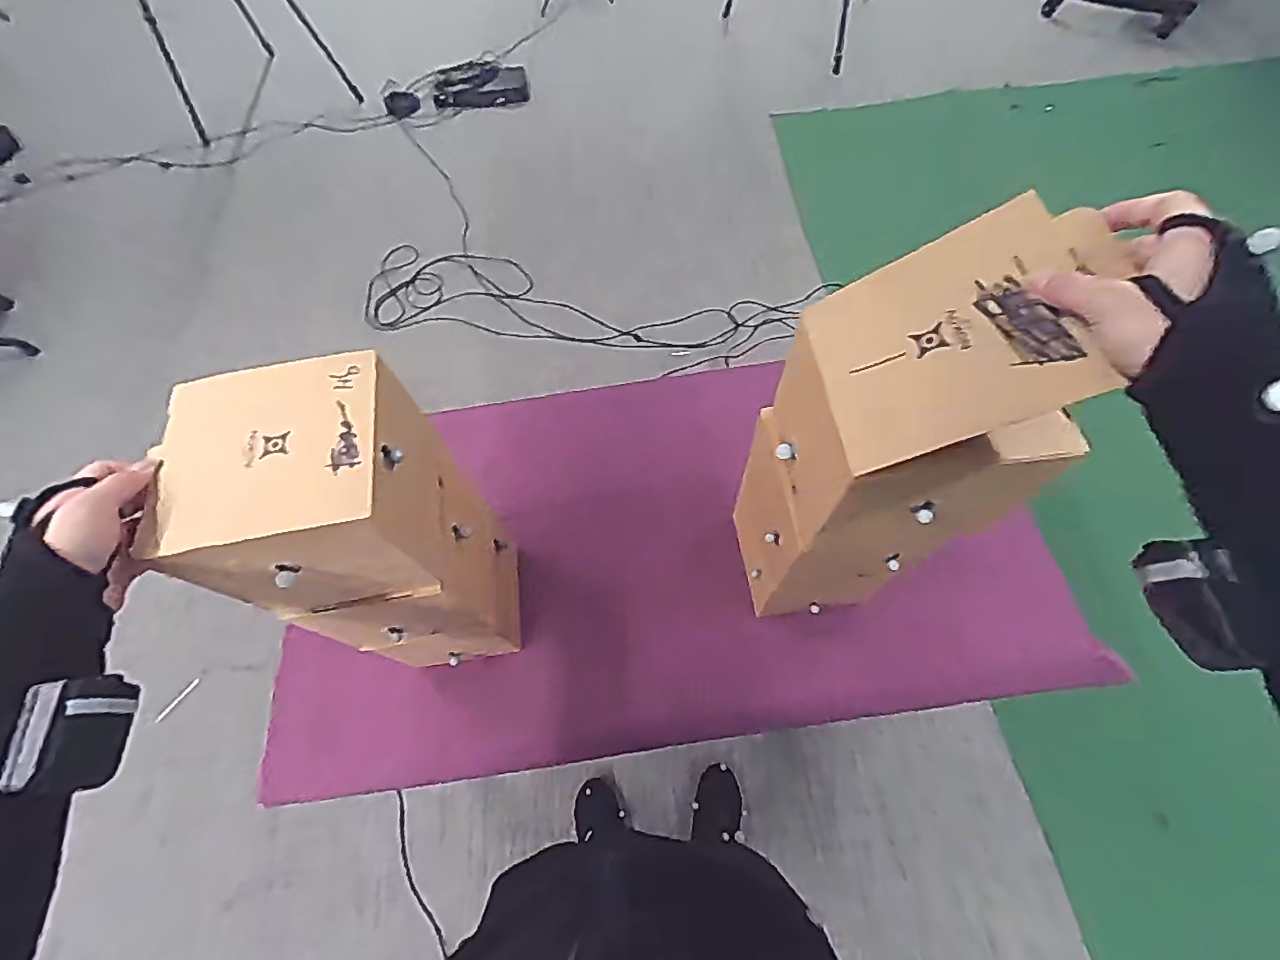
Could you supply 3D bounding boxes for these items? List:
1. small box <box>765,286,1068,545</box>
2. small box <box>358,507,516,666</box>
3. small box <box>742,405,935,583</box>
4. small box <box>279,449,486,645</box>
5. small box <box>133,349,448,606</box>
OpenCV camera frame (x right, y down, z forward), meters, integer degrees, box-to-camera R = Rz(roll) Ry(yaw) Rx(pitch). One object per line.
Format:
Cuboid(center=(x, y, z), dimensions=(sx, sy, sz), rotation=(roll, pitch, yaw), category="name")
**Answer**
Cuboid(center=(0.227, -0.049, 0.502), dimensions=(0.179, 0.176, 0.168), rotation=(-7, 63, 1), category="small box")
Cuboid(center=(-0.284, 0.161, 0.796), dimensions=(0.168, 0.176, 0.179), rotation=(-8, 62, -1), category="small box")
Cuboid(center=(0.227, 0.017, 0.652), dimensions=(0.168, 0.176, 0.179), rotation=(-9, 63, -1), category="small box")
Cuboid(center=(-0.292, 0.085, 0.653), dimensions=(0.168, 0.176, 0.179), rotation=(-10, 63, -2), category="small box")
Cuboid(center=(-0.299, 0.008, 0.509), dimensions=(0.179, 0.176, 0.168), rotation=(-11, 63, -2), category="small box")
